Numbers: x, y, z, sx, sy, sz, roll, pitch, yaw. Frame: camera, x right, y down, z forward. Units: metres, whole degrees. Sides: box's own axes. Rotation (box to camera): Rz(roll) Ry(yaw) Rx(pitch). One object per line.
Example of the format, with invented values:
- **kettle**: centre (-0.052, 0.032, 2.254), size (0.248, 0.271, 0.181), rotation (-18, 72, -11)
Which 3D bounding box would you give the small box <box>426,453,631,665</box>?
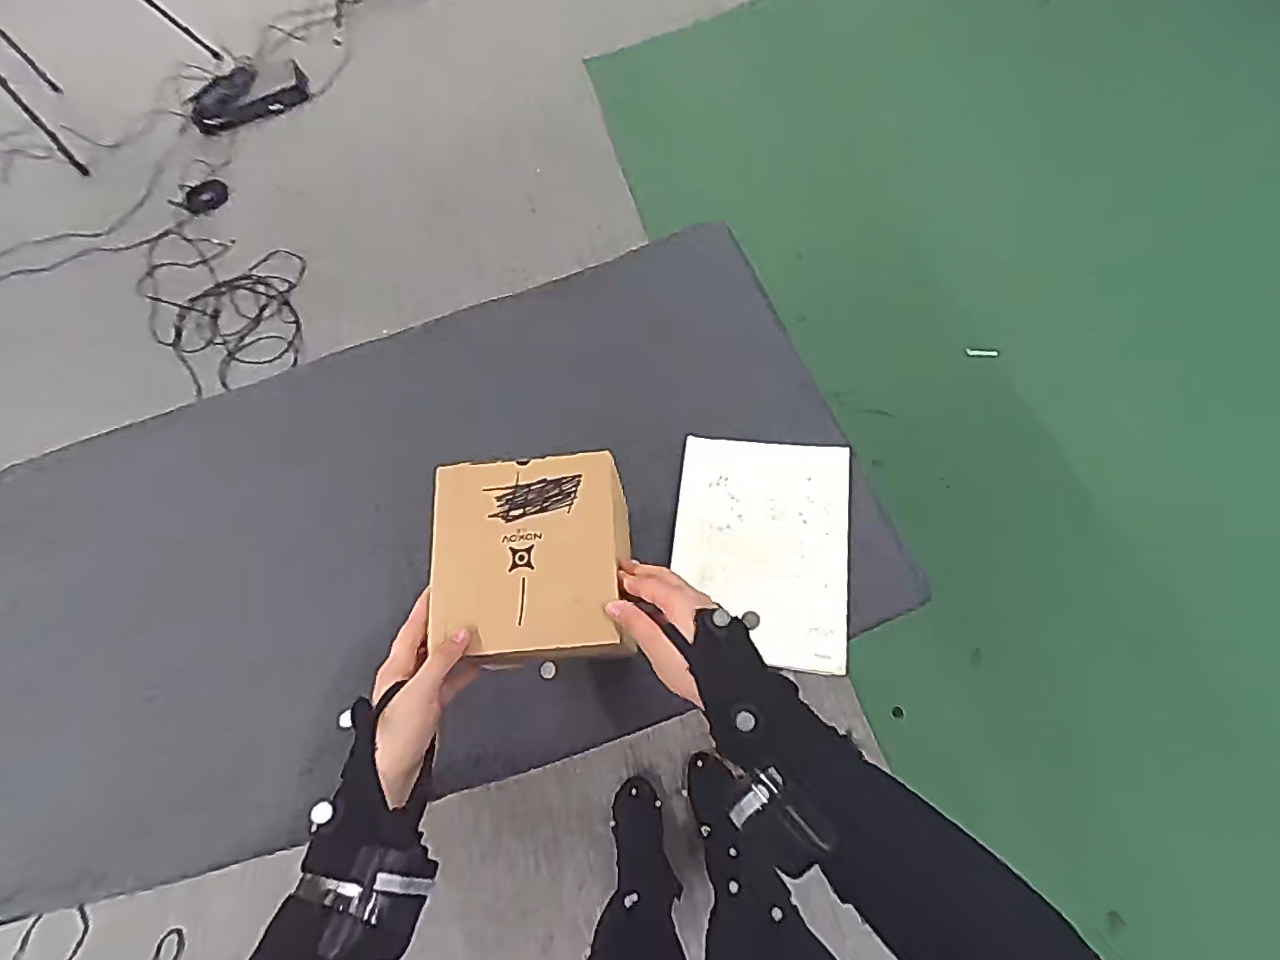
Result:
- **small box**: centre (-0.101, 0.090, 0.561), size (0.168, 0.176, 0.179), rotation (-6, 69, 3)
